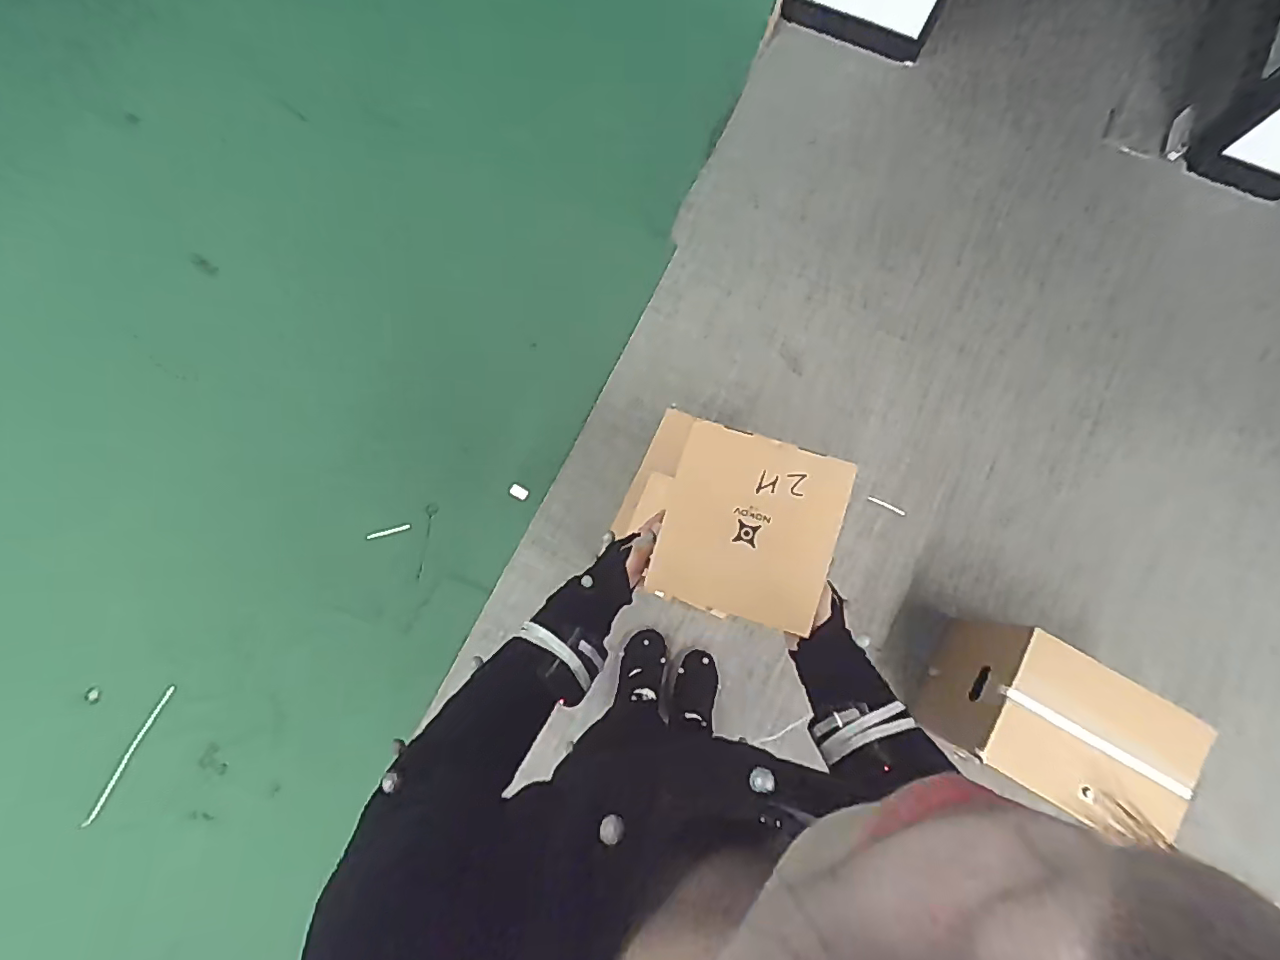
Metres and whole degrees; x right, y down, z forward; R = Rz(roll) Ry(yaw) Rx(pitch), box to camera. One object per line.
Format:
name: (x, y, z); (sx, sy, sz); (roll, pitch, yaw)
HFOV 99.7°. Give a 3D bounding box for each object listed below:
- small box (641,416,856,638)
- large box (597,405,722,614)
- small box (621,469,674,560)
small box: (0.109, 0.046, 0.595); (0.168, 0.176, 0.179); (17, 89, 4)
large box: (0.122, 0.091, 1.366); (0.320, 0.320, 0.408); (24, 79, 5)
small box: (0.075, 0.098, 1.115); (0.179, 0.176, 0.168); (23, 79, 6)
